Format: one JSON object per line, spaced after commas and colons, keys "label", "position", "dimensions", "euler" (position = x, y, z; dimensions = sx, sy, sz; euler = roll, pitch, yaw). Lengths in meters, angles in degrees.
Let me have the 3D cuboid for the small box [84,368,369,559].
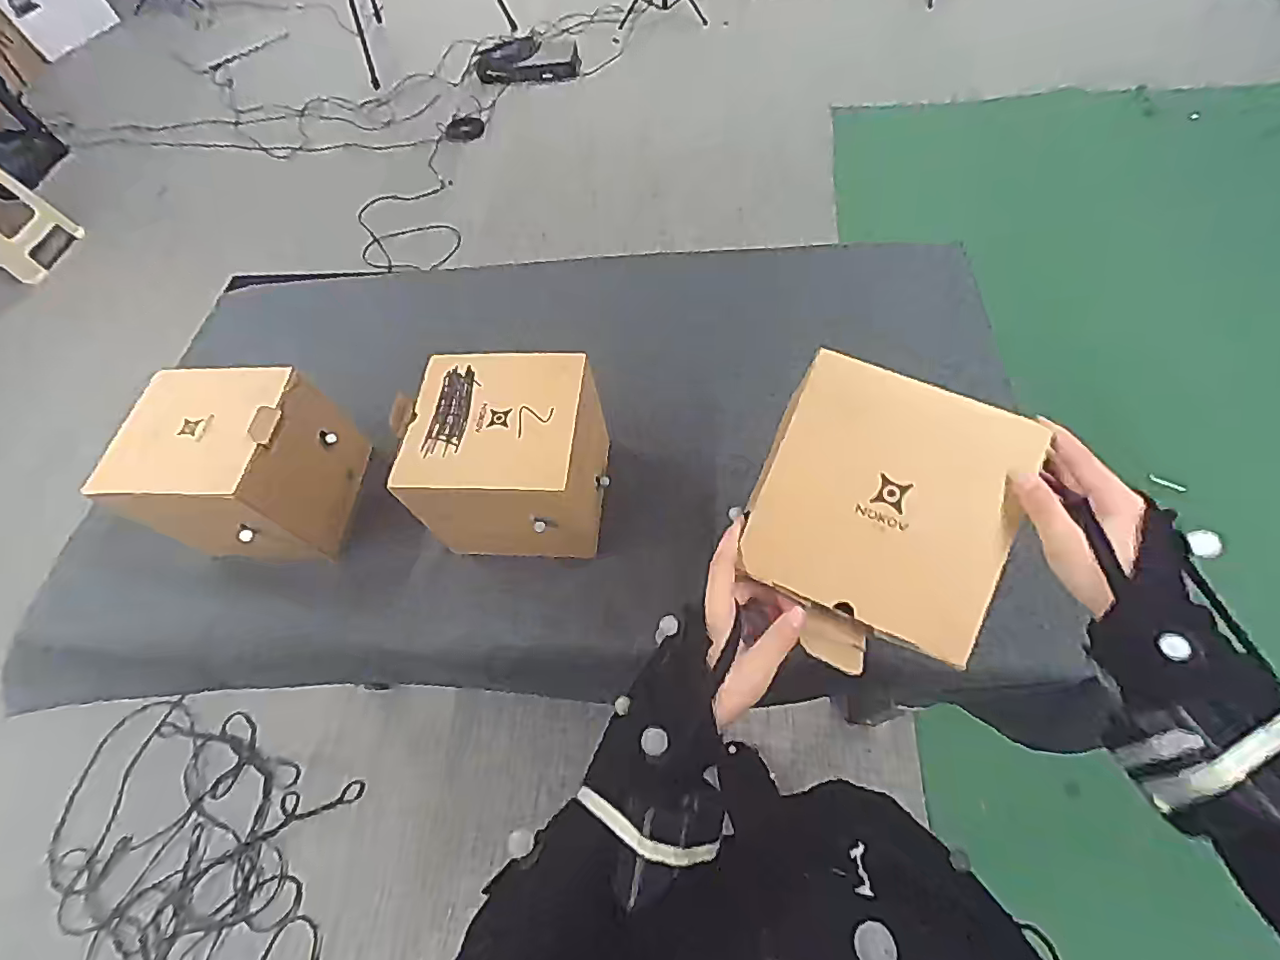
{"label": "small box", "position": [-0.460, -0.013, 0.640], "dimensions": [0.179, 0.176, 0.168], "euler": [-1, 59, 7]}
